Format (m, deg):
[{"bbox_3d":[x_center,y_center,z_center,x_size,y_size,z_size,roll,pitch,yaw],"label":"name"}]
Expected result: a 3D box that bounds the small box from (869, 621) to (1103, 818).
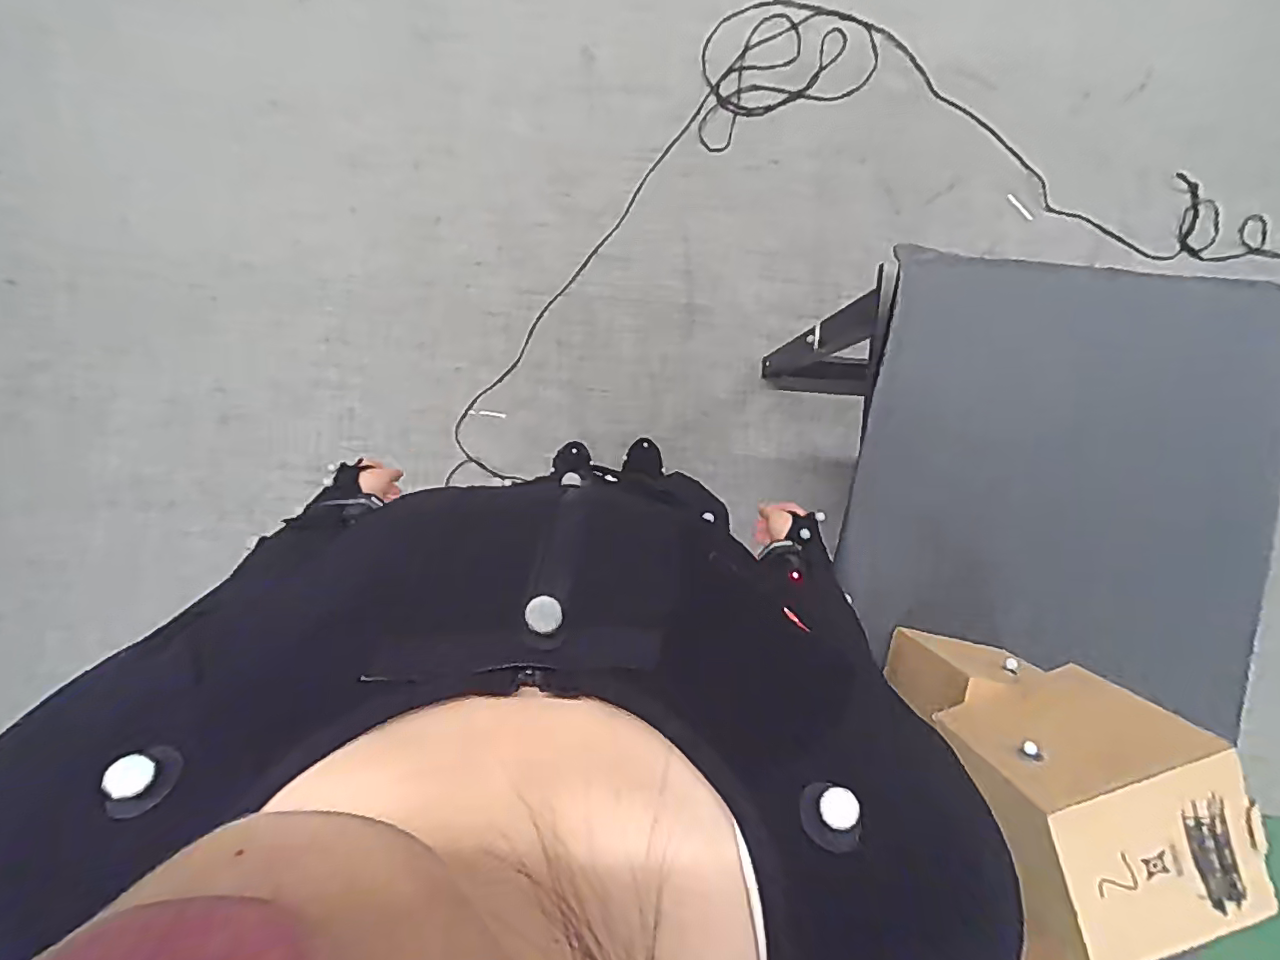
[{"bbox_3d":[0.440,0.302,0.716,0.179,0.176,0.168,13,94,-5],"label":"small box"}]
